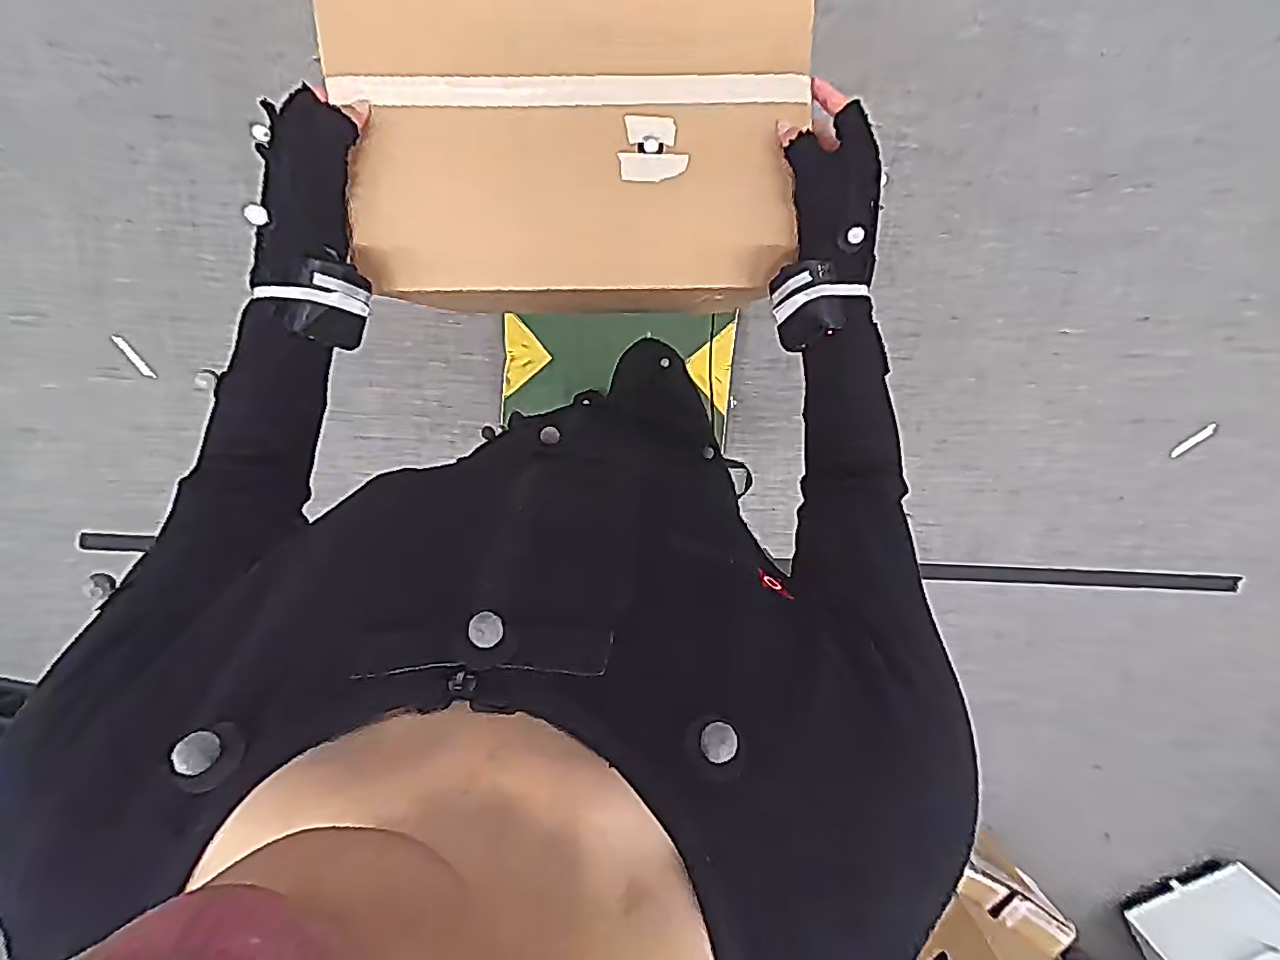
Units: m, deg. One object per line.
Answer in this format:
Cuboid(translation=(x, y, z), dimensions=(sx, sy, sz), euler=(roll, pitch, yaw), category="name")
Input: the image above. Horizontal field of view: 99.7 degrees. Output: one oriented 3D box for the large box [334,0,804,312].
Cuboid(translation=(-0.063, -0.371, 0.617), dimensions=(0.408, 0.320, 0.320), euler=(-2, 104, -2), category="large box")
